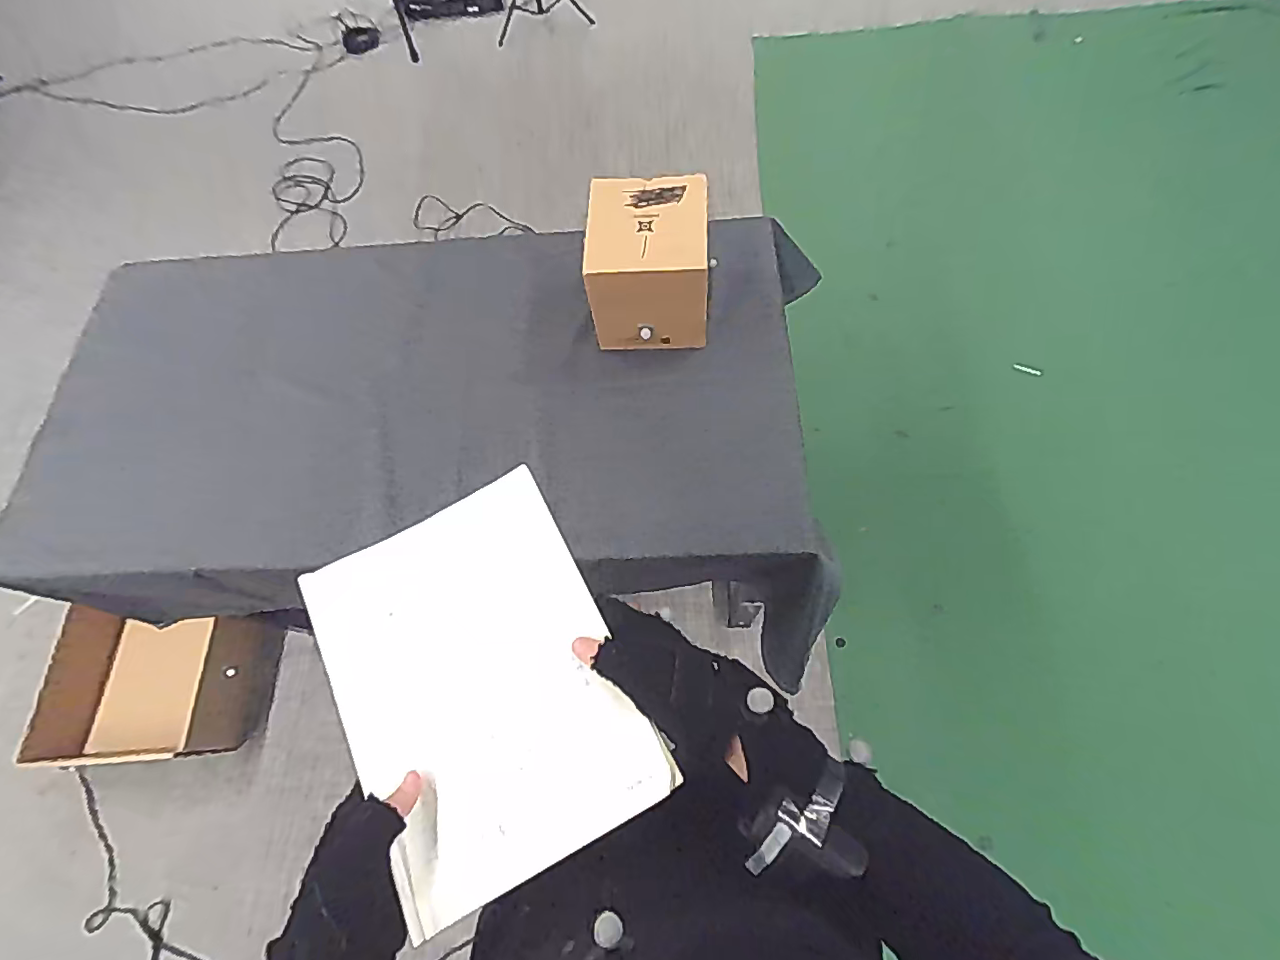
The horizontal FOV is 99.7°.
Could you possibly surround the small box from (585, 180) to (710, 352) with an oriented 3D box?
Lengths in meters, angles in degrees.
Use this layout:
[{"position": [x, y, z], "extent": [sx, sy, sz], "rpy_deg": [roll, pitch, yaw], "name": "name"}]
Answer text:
[{"position": [0.018, -0.313, 0.809], "extent": [0.168, 0.176, 0.179], "rpy_deg": [0, 67, 6], "name": "small box"}]
